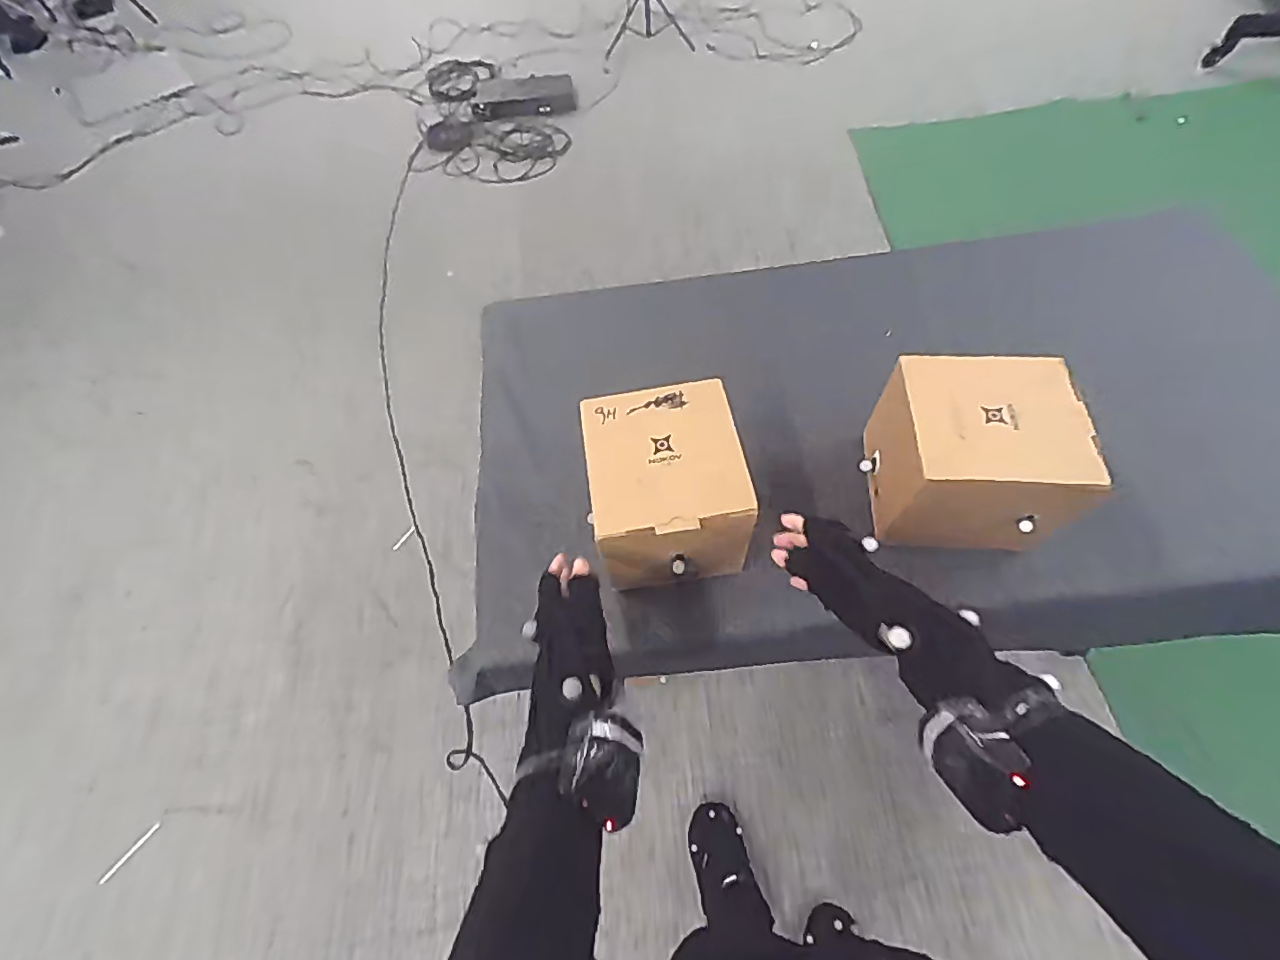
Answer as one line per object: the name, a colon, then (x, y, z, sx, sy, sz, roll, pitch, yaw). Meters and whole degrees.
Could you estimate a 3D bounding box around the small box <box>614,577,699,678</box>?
small box: (0.038, 0.355, 1.289, 0.168, 0.176, 0.179, -13, 62, -3)

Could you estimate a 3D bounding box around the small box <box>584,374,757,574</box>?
small box: (0.032, 0.004, 0.648, 0.168, 0.176, 0.179, -9, 61, -1)

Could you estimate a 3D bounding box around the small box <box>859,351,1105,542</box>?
small box: (0.382, -0.033, 0.644, 0.179, 0.176, 0.168, 2, 60, 6)
